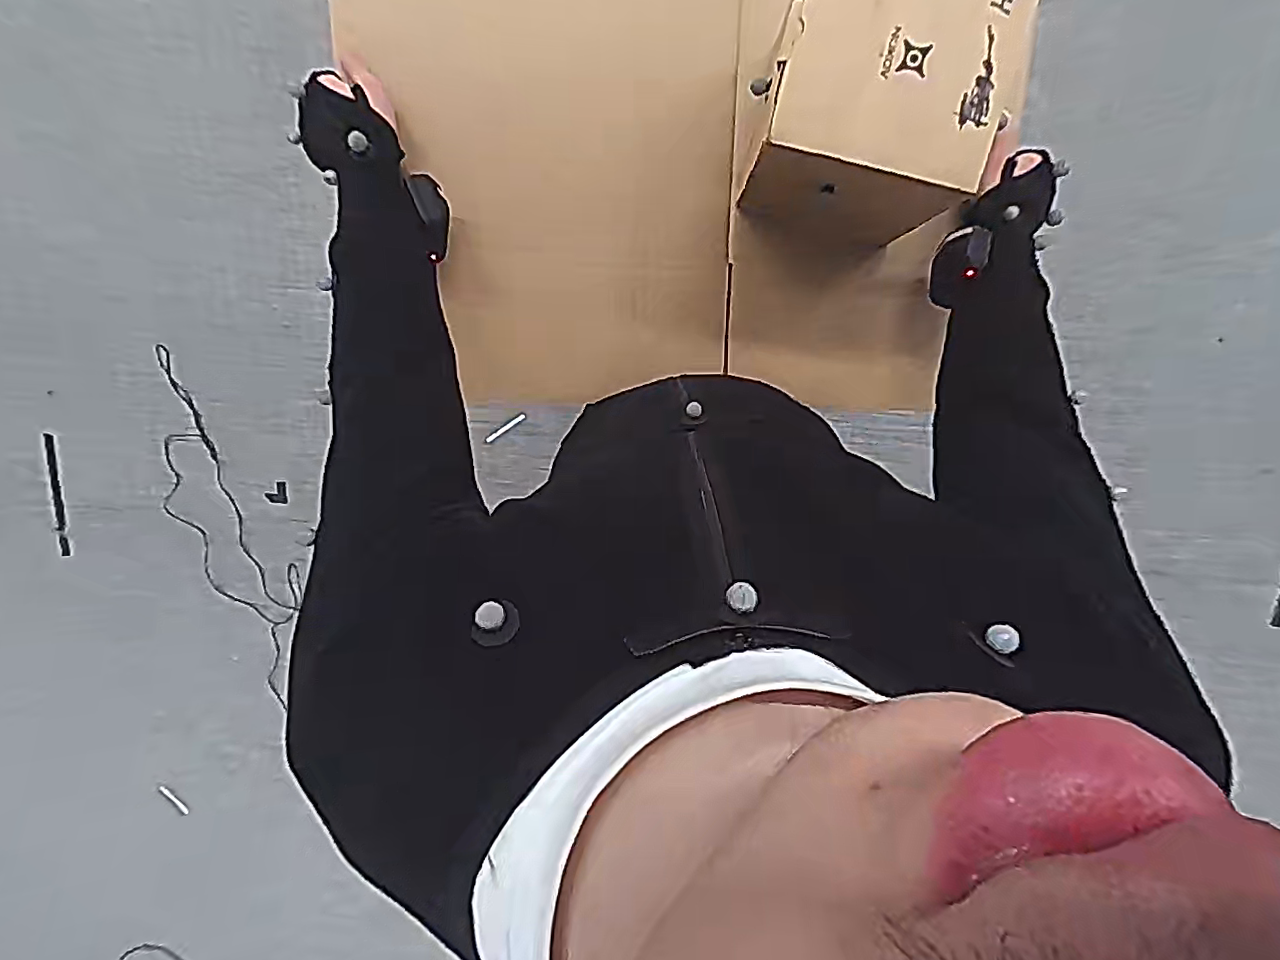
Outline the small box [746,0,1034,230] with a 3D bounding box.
[{"bbox_3d":[0.207,-0.349,0.497,0.179,0.176,0.168,14,102,0],"label":"small box"}]
